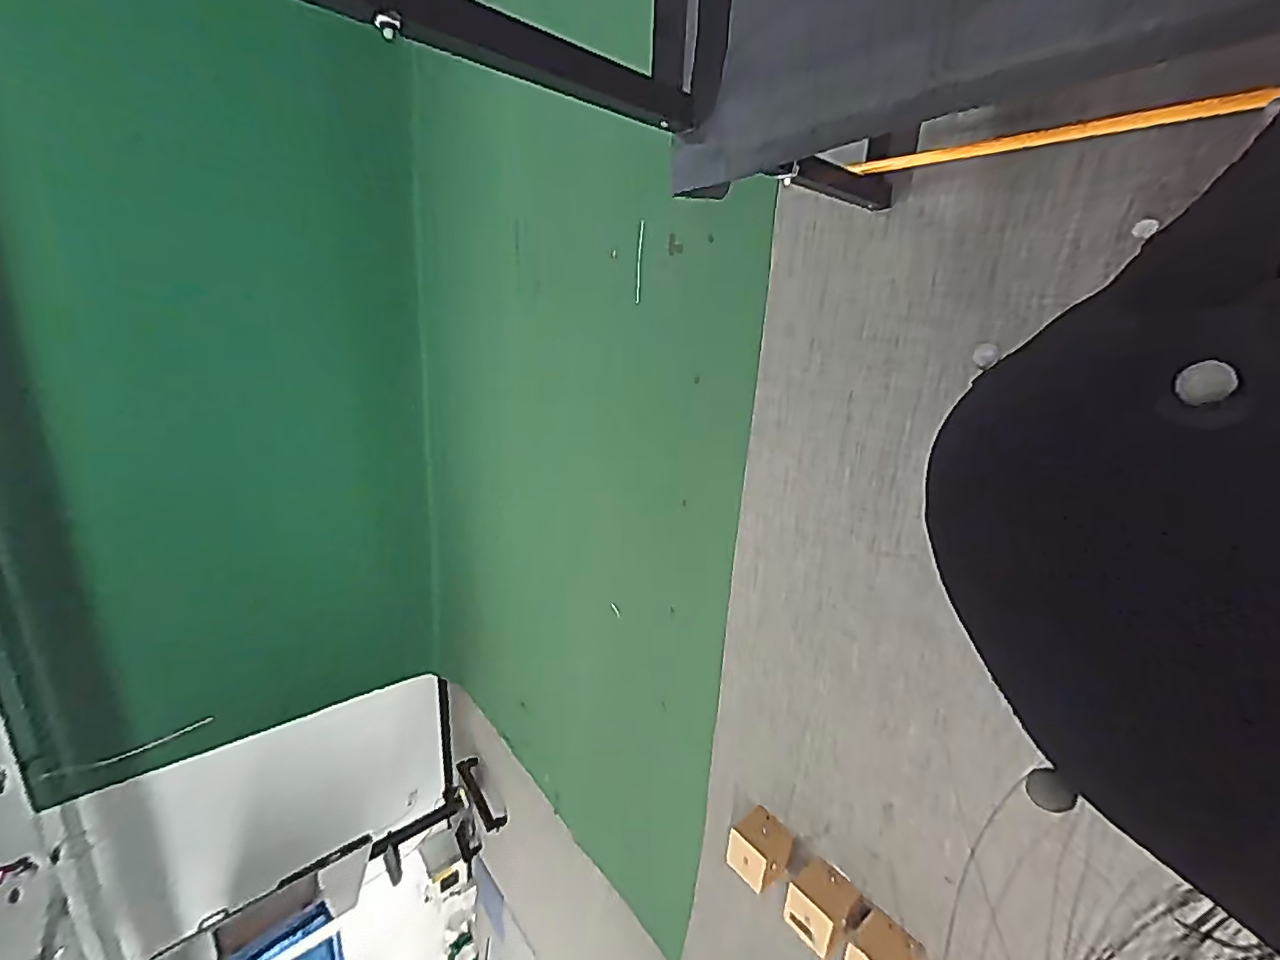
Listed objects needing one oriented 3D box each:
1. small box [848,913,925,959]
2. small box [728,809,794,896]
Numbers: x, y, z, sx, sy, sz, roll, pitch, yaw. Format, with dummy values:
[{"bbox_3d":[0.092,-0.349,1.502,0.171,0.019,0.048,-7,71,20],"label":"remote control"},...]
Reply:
[{"bbox_3d":[0.759,1.514,1.680,0.168,0.176,0.179,21,115,46],"label":"small box"},{"bbox_3d":[0.455,1.388,2.030,0.168,0.176,0.179,24,115,47],"label":"small box"}]
